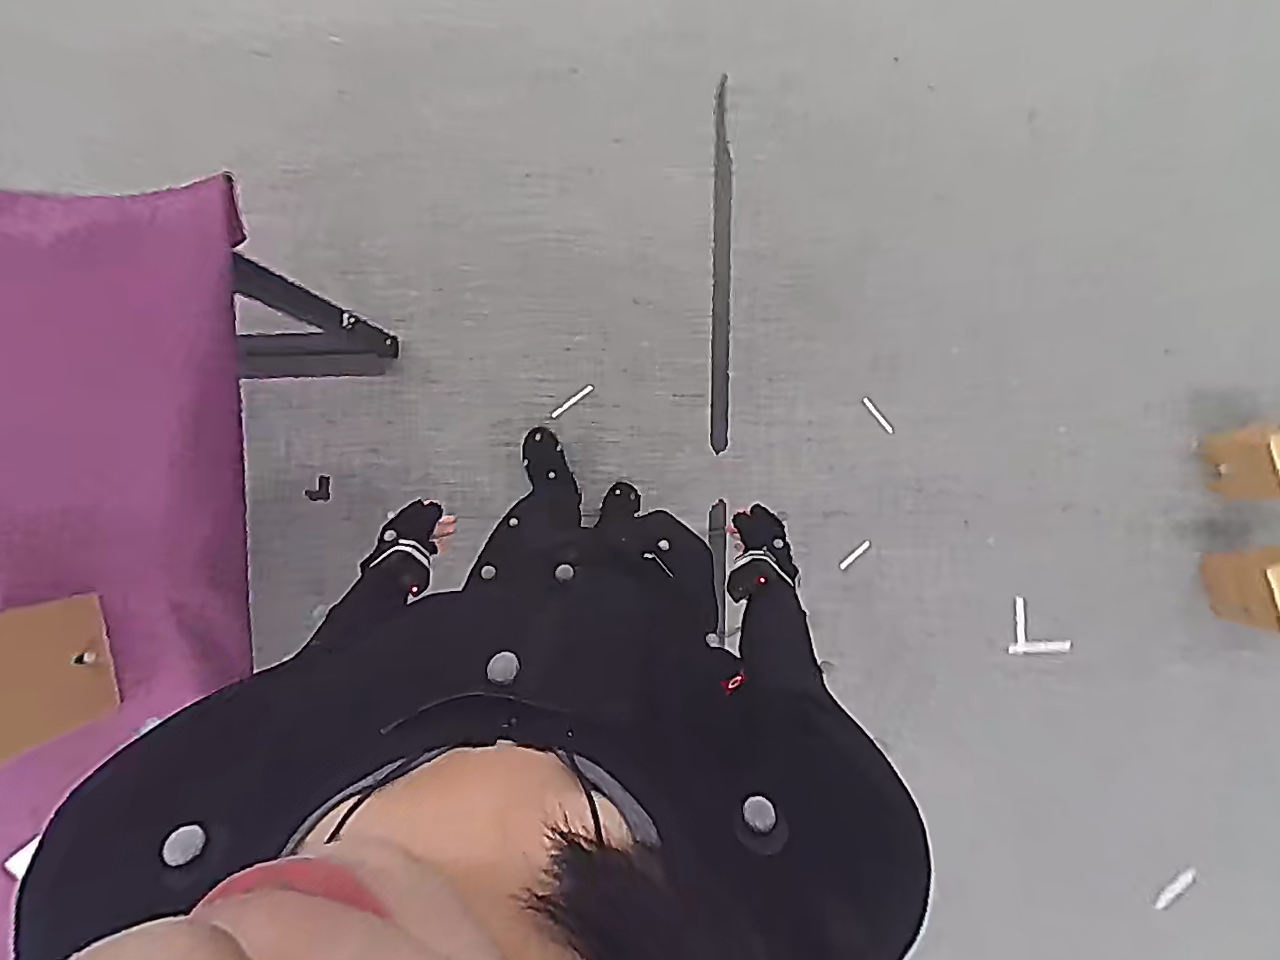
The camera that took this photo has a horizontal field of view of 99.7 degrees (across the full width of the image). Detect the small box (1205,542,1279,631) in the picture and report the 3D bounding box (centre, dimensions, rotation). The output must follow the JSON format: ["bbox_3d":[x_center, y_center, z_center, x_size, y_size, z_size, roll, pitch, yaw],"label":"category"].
[{"bbox_3d":[1.675,0.276,1.428,0.168,0.176,0.179,-19,89,0],"label":"small box"}]

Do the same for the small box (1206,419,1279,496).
[{"bbox_3d":[1.678,-0.064,1.425,0.179,0.176,0.168,-20,90,1],"label":"small box"}]

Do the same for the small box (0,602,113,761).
[{"bbox_3d":[-0.852,0.266,0.700,0.168,0.176,0.179,-12,90,1],"label":"small box"}]
